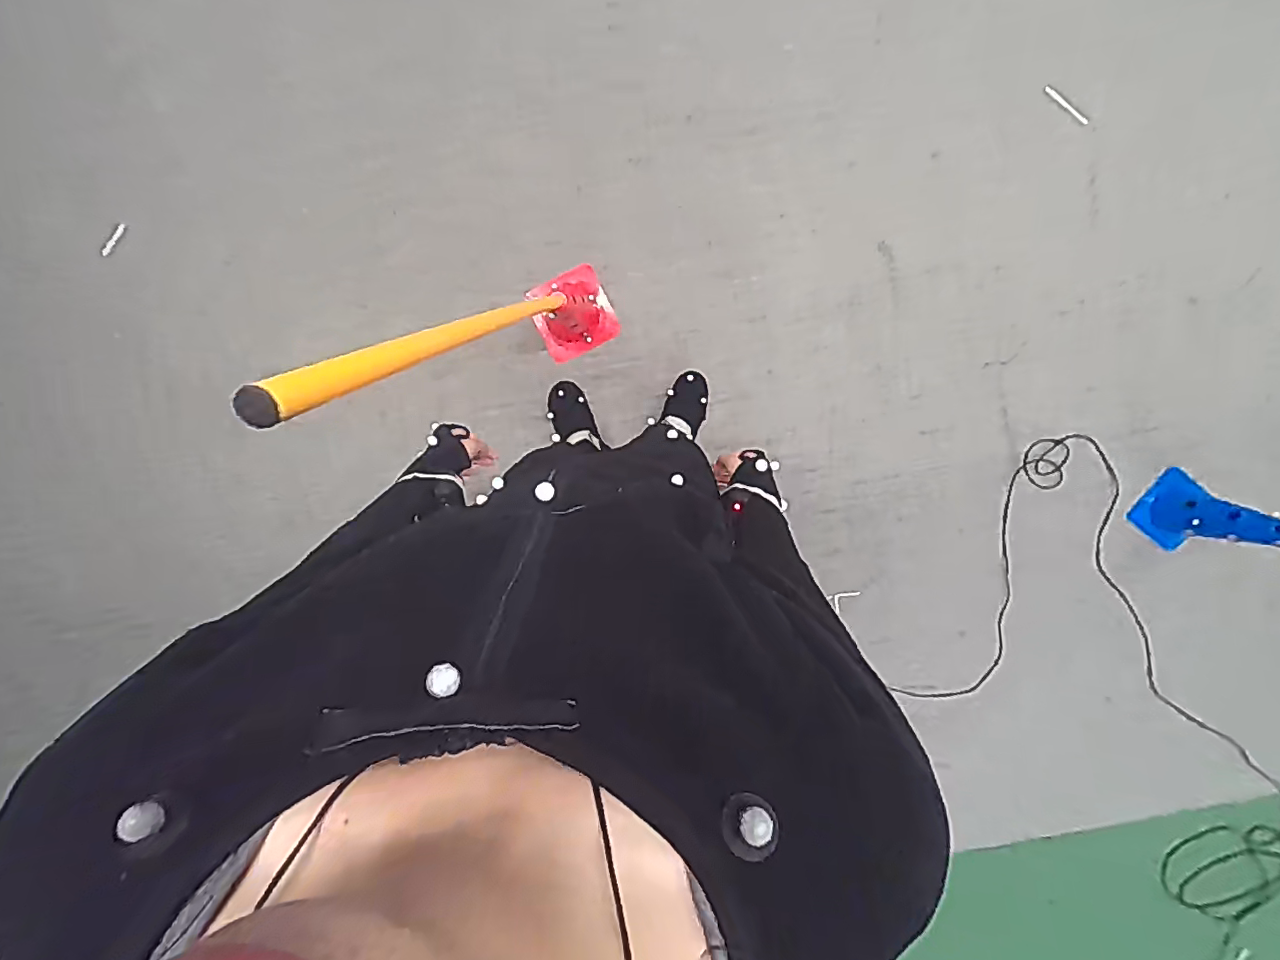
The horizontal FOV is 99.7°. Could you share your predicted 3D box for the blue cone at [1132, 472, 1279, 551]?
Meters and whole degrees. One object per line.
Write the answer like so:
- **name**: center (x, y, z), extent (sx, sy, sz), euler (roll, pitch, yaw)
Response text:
- **blue cone**: center (1.562, 0.118, 1.422), extent (0.192, 0.380, 0.193), euler (34, 96, -8)
